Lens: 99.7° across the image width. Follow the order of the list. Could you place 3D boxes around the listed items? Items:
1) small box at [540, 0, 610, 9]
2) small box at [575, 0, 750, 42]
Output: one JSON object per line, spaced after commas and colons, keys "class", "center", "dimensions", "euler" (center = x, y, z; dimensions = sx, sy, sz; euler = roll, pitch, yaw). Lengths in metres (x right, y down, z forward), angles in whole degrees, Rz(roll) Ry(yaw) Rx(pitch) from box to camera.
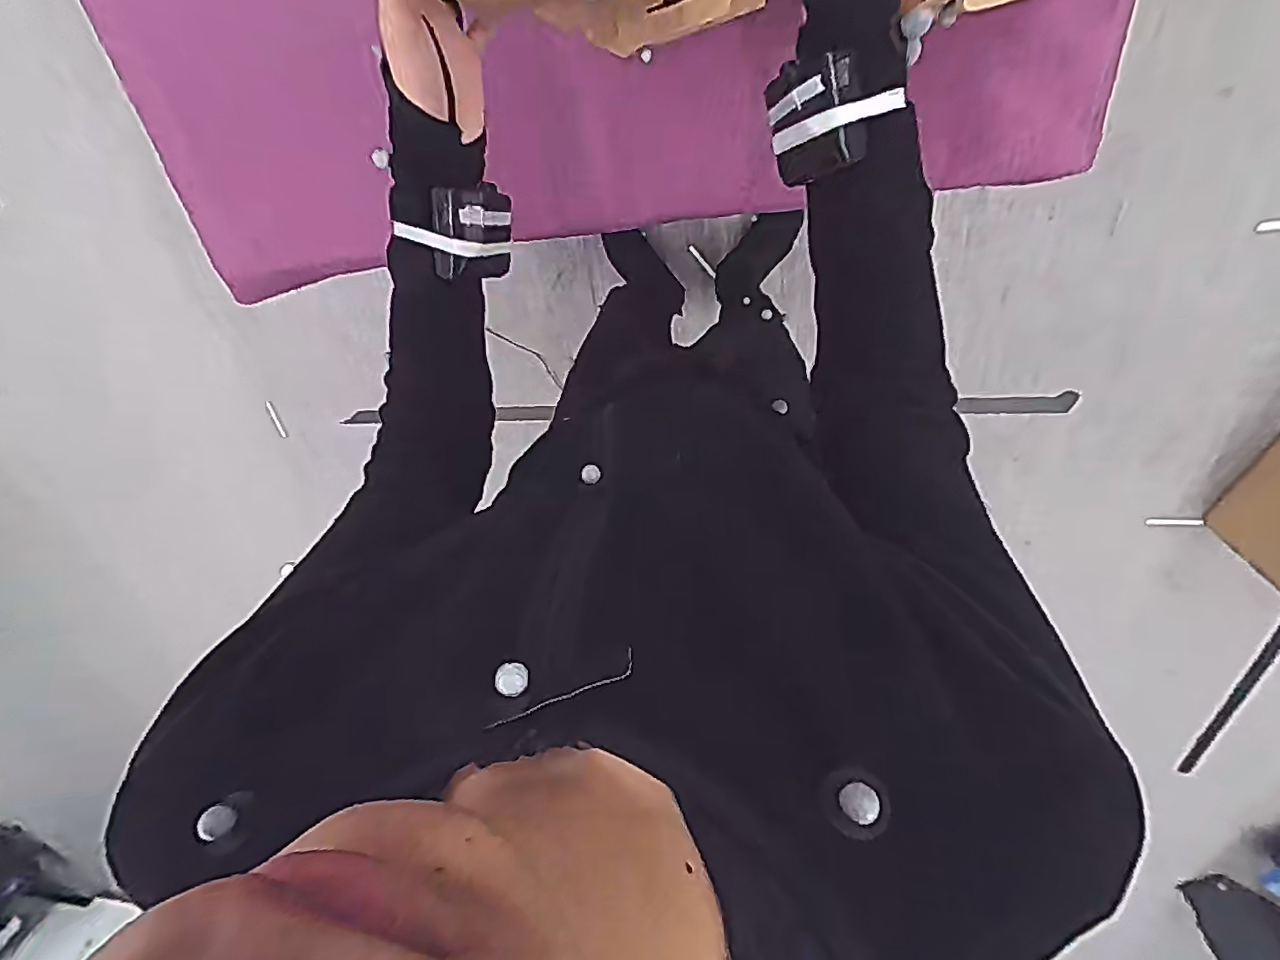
{"class": "small box", "center": [-0.025, -0.451, 0.358], "dimensions": [0.168, 0.176, 0.179], "euler": [-8, 120, 17]}
{"class": "small box", "center": [0.017, -0.532, 0.493], "dimensions": [0.168, 0.176, 0.179], "euler": [-7, 119, 17]}
